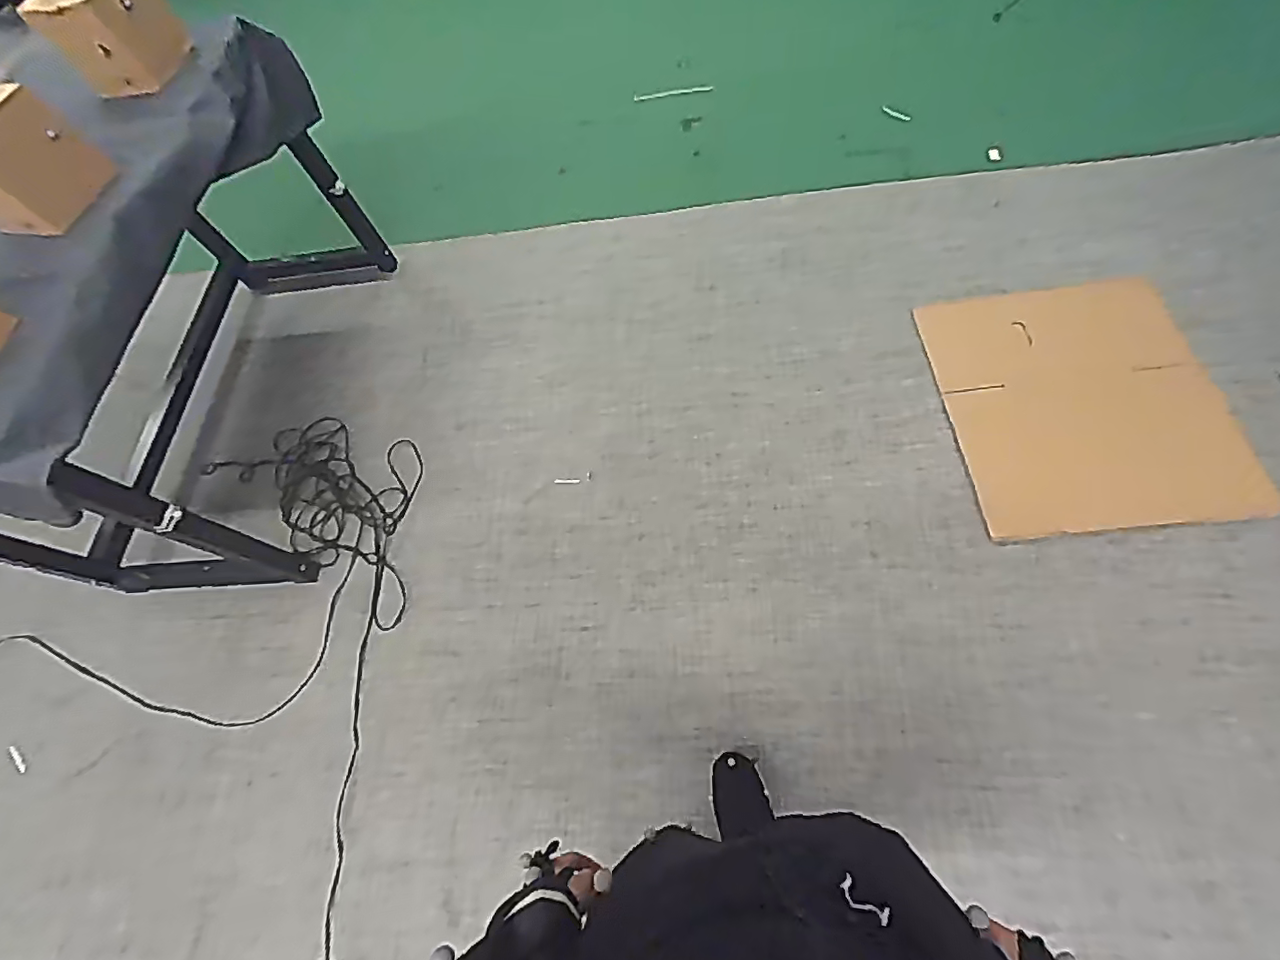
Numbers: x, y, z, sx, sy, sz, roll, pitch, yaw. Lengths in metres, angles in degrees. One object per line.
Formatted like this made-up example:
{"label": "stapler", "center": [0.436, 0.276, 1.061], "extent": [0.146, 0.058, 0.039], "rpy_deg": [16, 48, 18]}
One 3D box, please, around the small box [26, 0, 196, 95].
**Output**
{"label": "small box", "center": [-1.123, -0.964, 1.166], "extent": [0.168, 0.176, 0.179], "rpy_deg": [2, 65, 9]}
